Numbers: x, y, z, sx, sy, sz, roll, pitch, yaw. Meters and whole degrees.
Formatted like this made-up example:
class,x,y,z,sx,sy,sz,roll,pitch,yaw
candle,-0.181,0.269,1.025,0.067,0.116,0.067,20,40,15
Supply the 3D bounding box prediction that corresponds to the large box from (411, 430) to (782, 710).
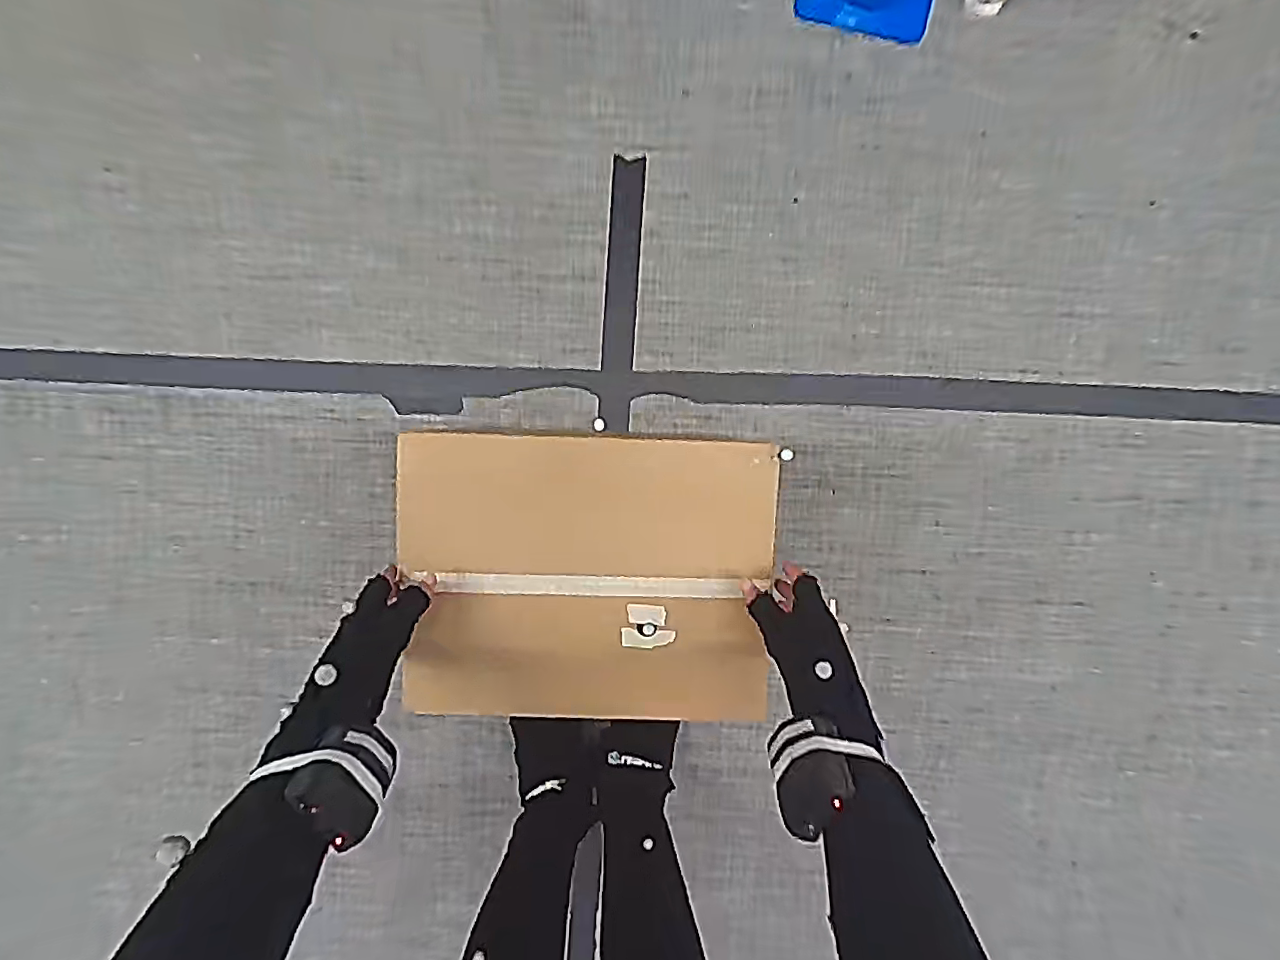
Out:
class,x,y,z,sx,sy,sz,roll,pitch,yaw
large box,-0.053,0.091,0.740,0.408,0.320,0.320,2,97,-2
